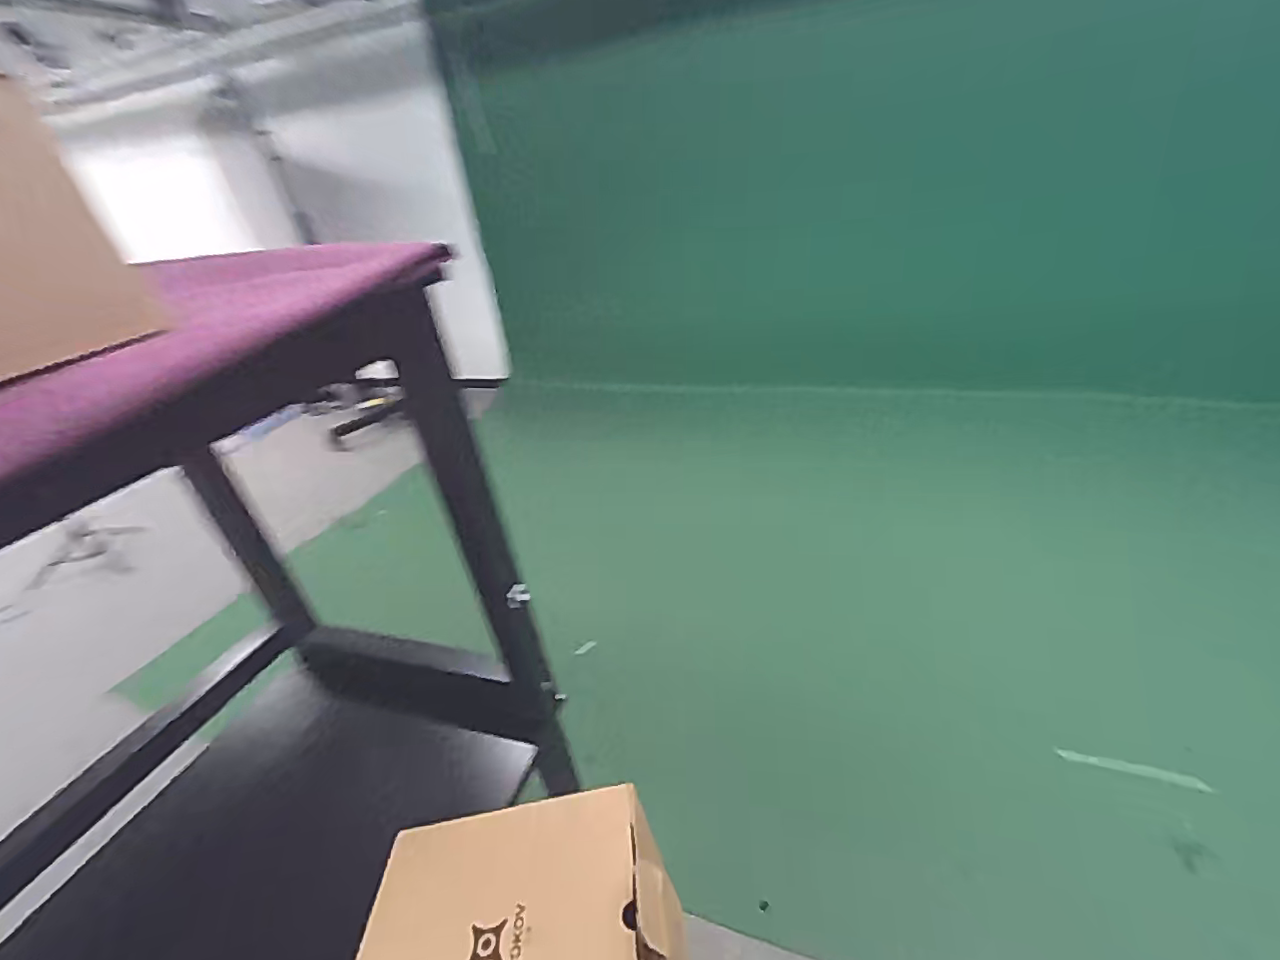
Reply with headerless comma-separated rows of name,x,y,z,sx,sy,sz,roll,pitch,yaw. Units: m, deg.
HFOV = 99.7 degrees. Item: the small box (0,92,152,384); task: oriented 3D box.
small box,-0.489,-0.139,0.346,0.168,0.176,0.179,3,33,22
